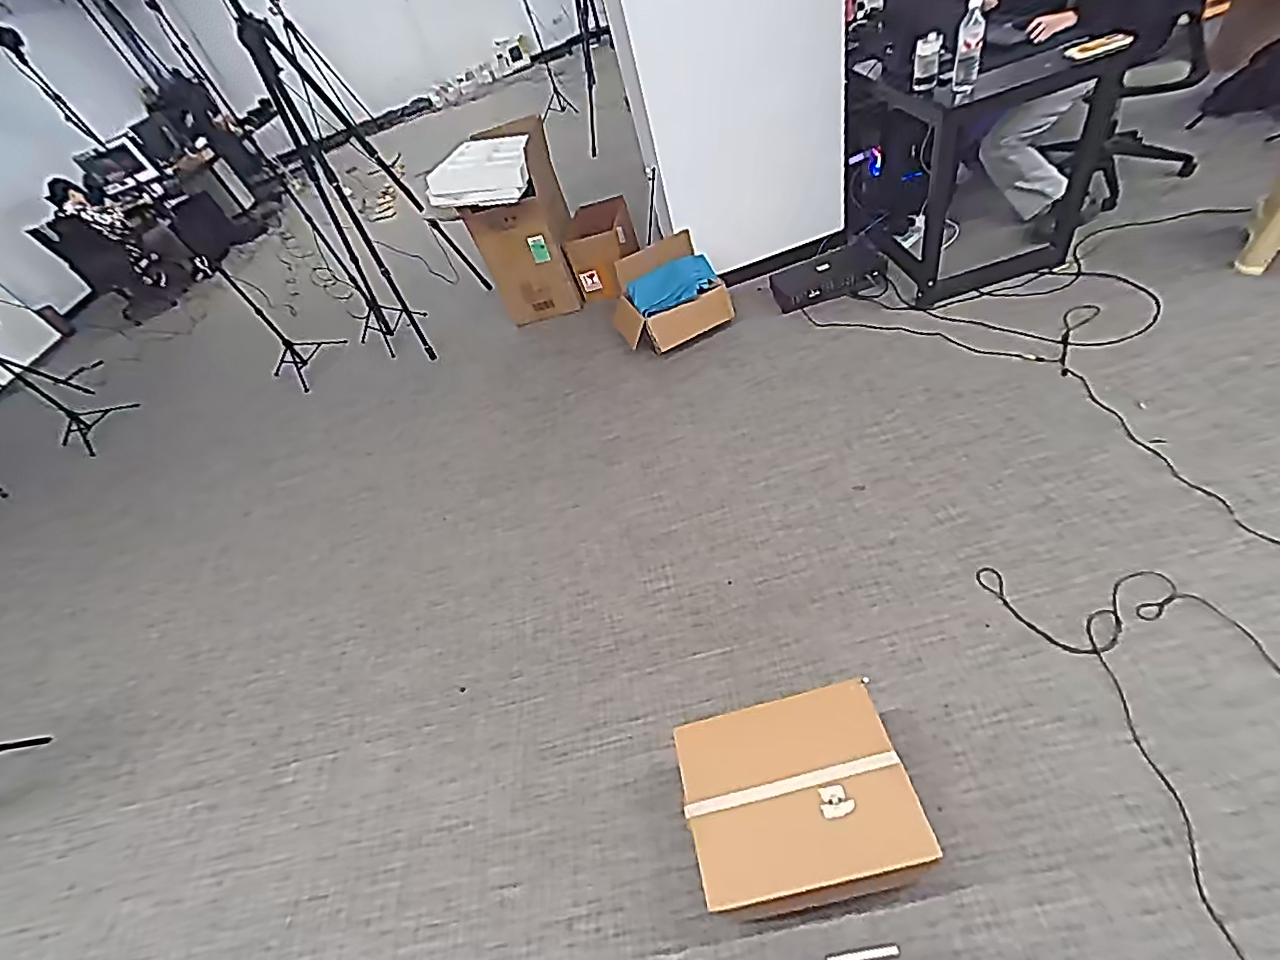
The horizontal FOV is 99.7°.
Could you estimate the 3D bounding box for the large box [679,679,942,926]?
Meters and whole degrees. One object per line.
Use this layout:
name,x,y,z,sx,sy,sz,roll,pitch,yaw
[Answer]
large box,0.331,0.672,1.119,0.408,0.320,0.320,-18,46,5
